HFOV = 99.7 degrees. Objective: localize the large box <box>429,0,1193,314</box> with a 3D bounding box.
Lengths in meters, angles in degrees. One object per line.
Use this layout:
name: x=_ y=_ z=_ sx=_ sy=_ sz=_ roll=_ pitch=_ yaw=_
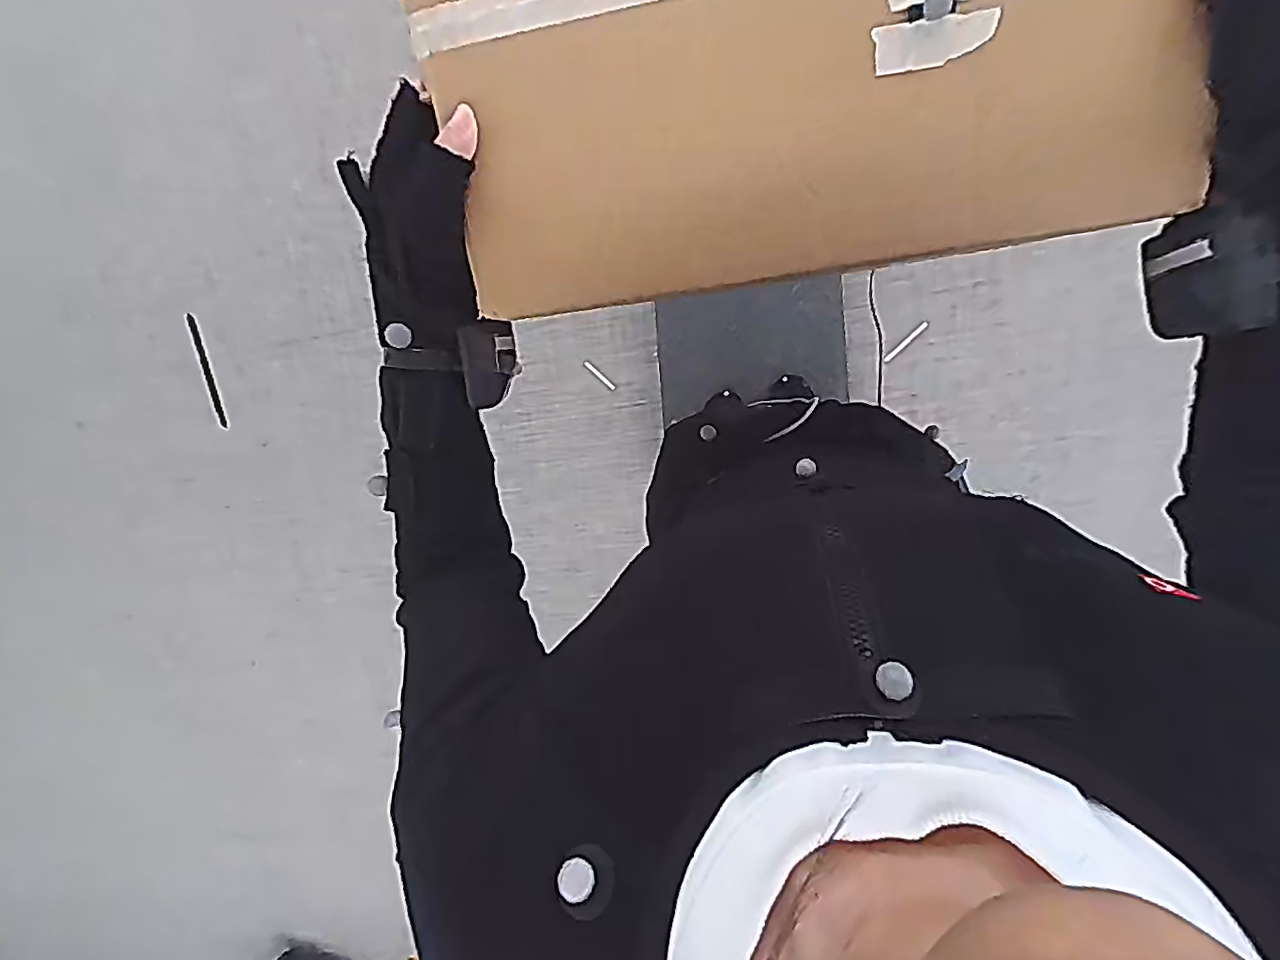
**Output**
large box: x=0.091 y=-0.324 z=0.427 sx=0.408 sy=0.320 sz=0.320 roll=-6 pitch=108 yaw=9
